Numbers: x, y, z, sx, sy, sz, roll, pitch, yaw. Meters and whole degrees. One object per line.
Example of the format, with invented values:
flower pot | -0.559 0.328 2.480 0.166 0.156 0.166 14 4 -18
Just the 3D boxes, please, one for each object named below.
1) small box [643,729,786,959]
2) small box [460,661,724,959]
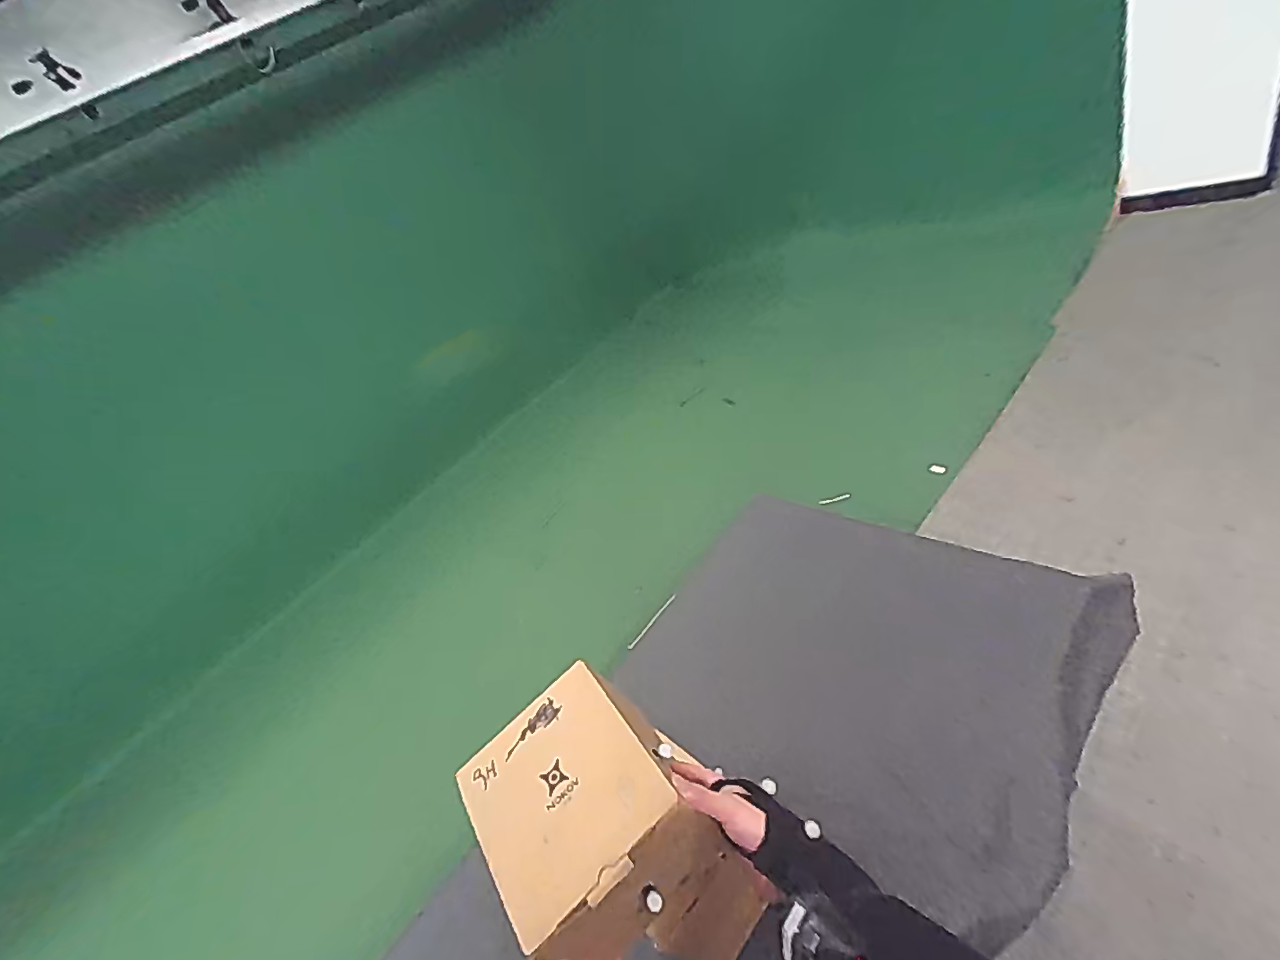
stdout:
small box | 0.060 0.470 0.696 0.168 0.176 0.179 -45 35 -22
small box | -0.040 0.324 0.541 0.168 0.176 0.179 -40 46 -10
